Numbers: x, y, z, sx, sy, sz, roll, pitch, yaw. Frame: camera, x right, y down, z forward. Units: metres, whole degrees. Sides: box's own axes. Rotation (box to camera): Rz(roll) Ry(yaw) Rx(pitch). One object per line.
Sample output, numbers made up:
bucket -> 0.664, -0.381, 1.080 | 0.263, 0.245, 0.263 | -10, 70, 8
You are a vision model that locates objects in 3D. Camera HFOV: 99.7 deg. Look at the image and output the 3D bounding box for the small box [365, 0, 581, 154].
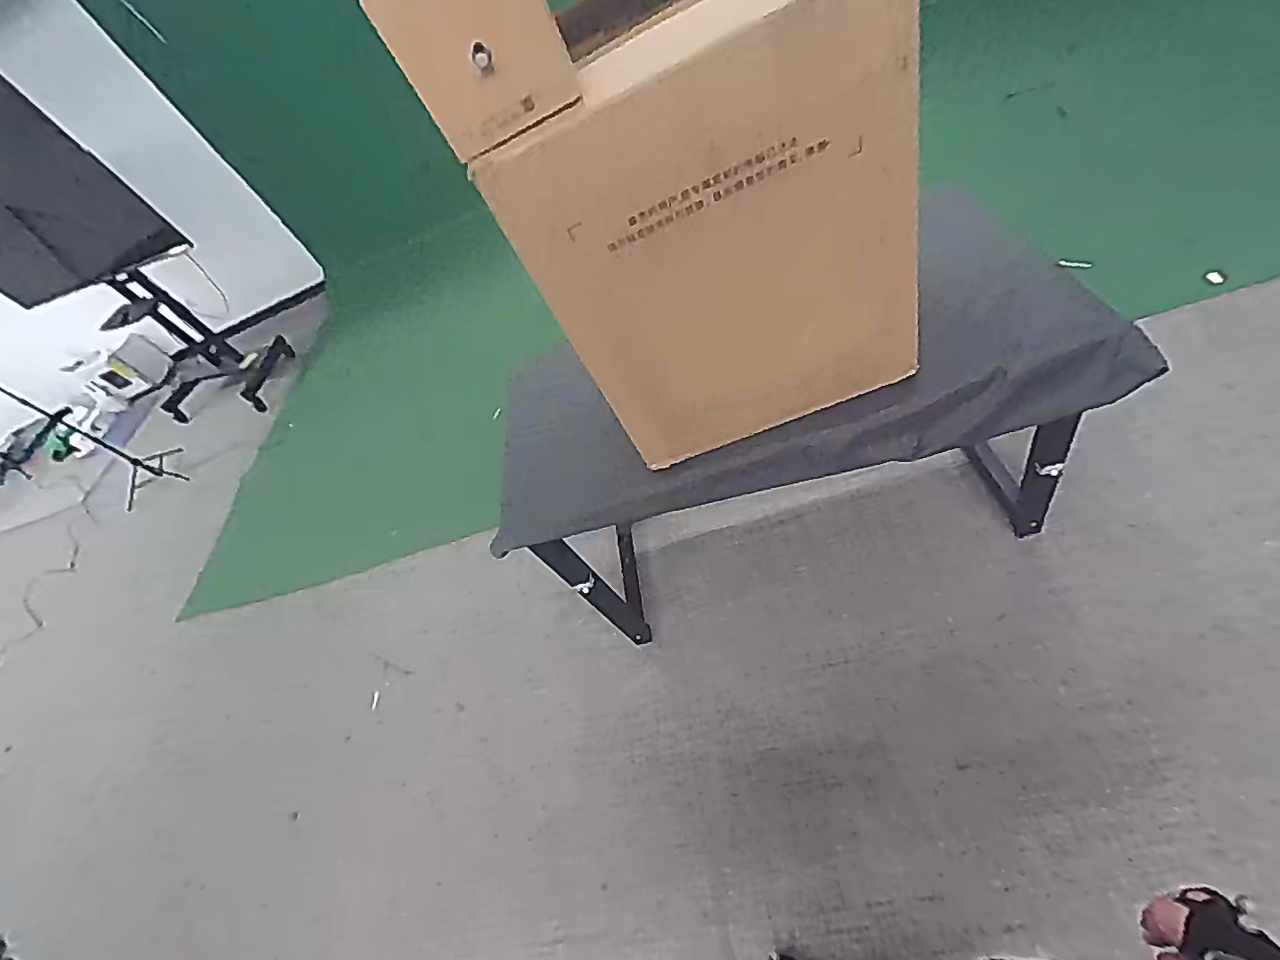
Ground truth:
small box -> -0.180, -0.515, 0.625 | 0.168, 0.176, 0.179 | -22, 50, 11
